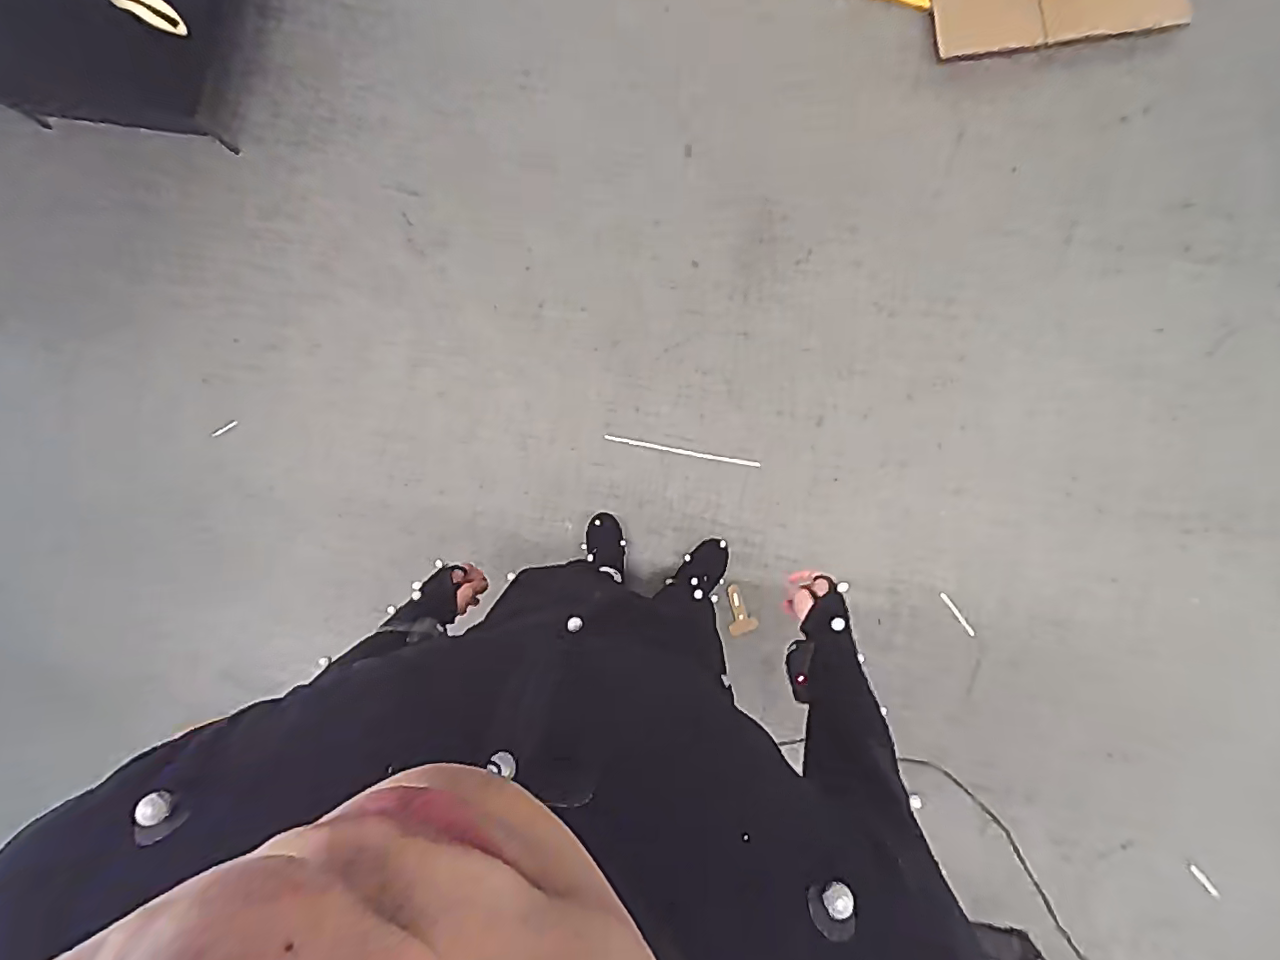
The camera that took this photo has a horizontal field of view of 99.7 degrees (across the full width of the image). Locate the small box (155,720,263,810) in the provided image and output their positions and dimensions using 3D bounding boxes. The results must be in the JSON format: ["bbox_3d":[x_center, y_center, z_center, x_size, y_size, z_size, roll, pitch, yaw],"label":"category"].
[{"bbox_3d":[-1.304,0.858,1.648,0.179,0.176,0.168,15,87,7],"label":"small box"}]

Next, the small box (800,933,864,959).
[{"bbox_3d":[0.507,1.342,1.404,0.168,0.176,0.179,13,86,7],"label":"small box"}]

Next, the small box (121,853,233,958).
[{"bbox_3d":[-1.385,1.268,1.627,0.179,0.176,0.168,10,87,7],"label":"small box"}]
